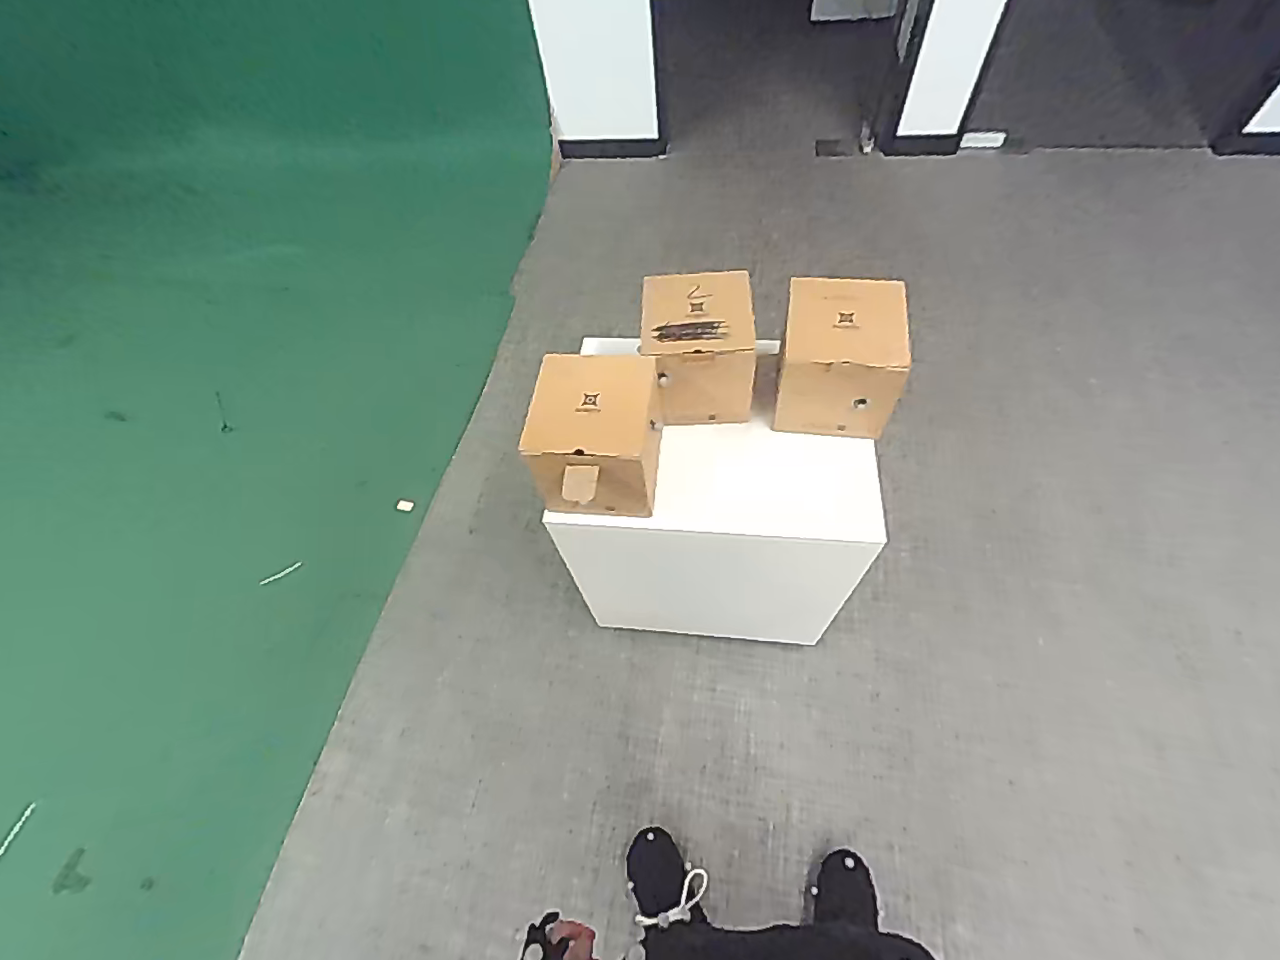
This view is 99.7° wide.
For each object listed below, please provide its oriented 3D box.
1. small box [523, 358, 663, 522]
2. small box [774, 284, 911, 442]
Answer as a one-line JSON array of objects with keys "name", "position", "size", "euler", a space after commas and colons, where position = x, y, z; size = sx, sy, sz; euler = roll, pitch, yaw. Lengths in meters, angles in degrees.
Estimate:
[{"name": "small box", "position": [-0.056, -0.057, 0.802], "size": [0.168, 0.176, 0.179], "euler": [3, 59, 8]}, {"name": "small box", "position": [0.304, -0.177, 0.840], "size": [0.168, 0.176, 0.179], "euler": [6, 59, 10]}]
